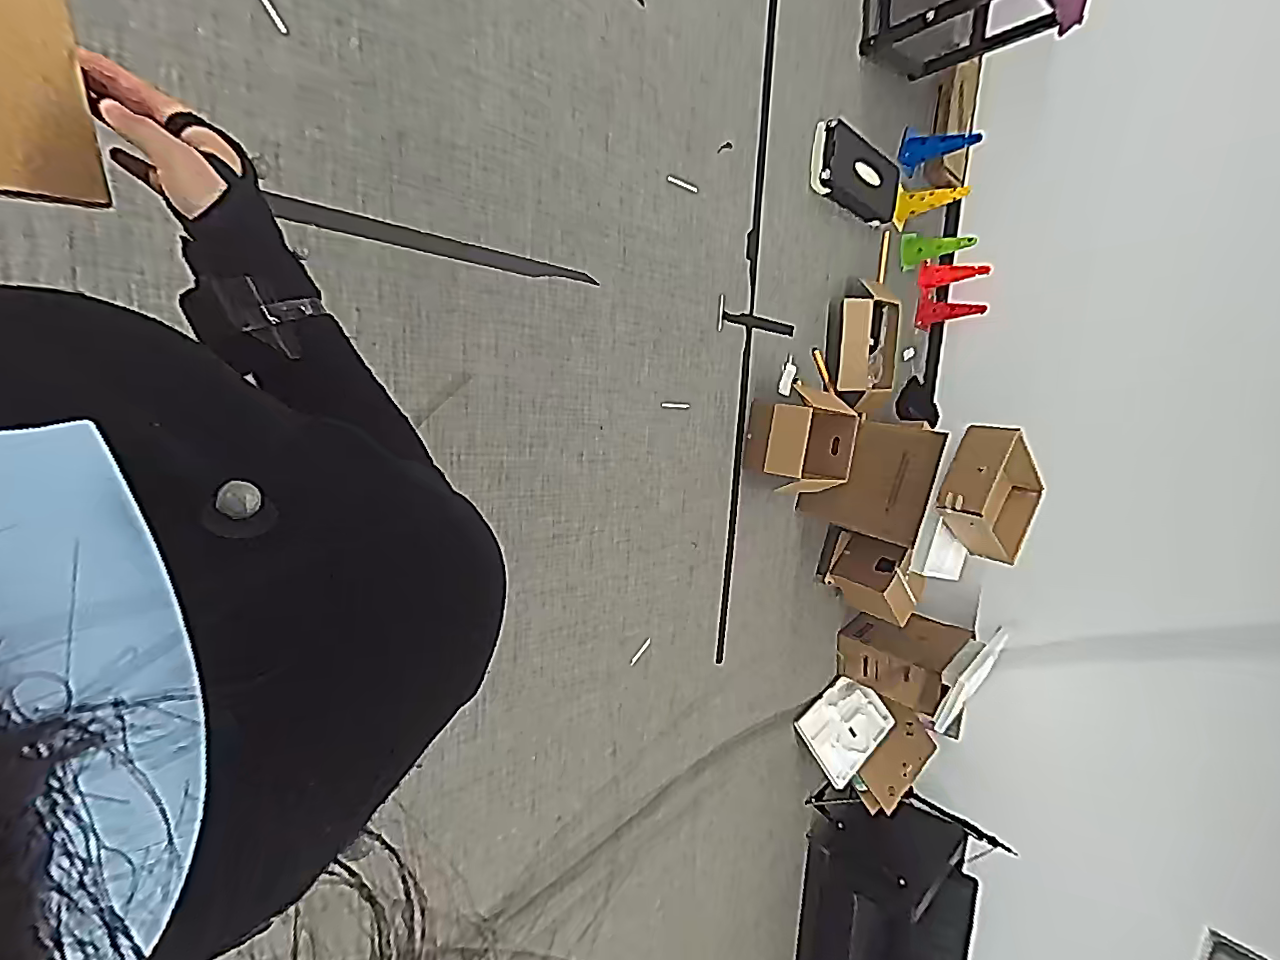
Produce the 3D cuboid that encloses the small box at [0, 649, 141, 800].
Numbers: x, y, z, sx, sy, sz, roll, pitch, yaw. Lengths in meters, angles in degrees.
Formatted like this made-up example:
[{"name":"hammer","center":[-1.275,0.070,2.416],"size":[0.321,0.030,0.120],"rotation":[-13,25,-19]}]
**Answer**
[{"name":"small box","center":[-1.110,0.465,1.058],"size":[0.168,0.176,0.179],"rotation":[-20,112,-39]}]
